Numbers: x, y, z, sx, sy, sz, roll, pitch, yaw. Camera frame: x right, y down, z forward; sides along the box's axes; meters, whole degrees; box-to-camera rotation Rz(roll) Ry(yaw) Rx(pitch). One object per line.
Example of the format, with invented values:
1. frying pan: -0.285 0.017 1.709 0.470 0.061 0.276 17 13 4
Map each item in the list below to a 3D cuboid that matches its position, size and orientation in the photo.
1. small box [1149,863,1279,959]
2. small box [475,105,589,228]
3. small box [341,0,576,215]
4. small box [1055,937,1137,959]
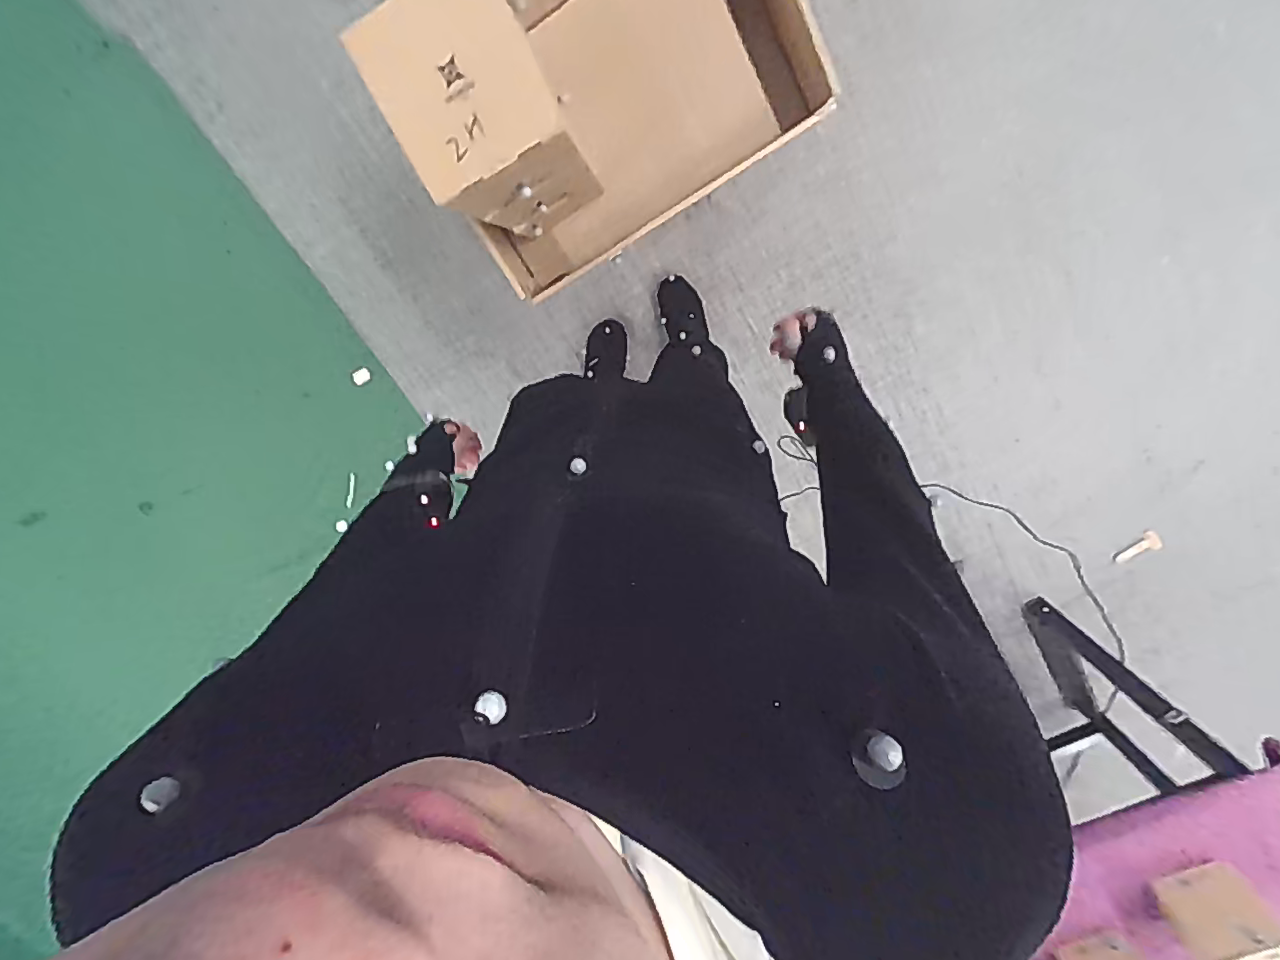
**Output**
1. small box: 1.302 1.007 1.206 0.168 0.176 0.179 -30 108 11
2. small box: -0.189 -0.491 0.781 0.168 0.176 0.179 -27 108 10
3. small box: -0.190 -0.435 0.625 0.168 0.176 0.179 -25 109 10
4. small box: 1.149 1.244 1.295 0.168 0.176 0.179 -31 109 11
